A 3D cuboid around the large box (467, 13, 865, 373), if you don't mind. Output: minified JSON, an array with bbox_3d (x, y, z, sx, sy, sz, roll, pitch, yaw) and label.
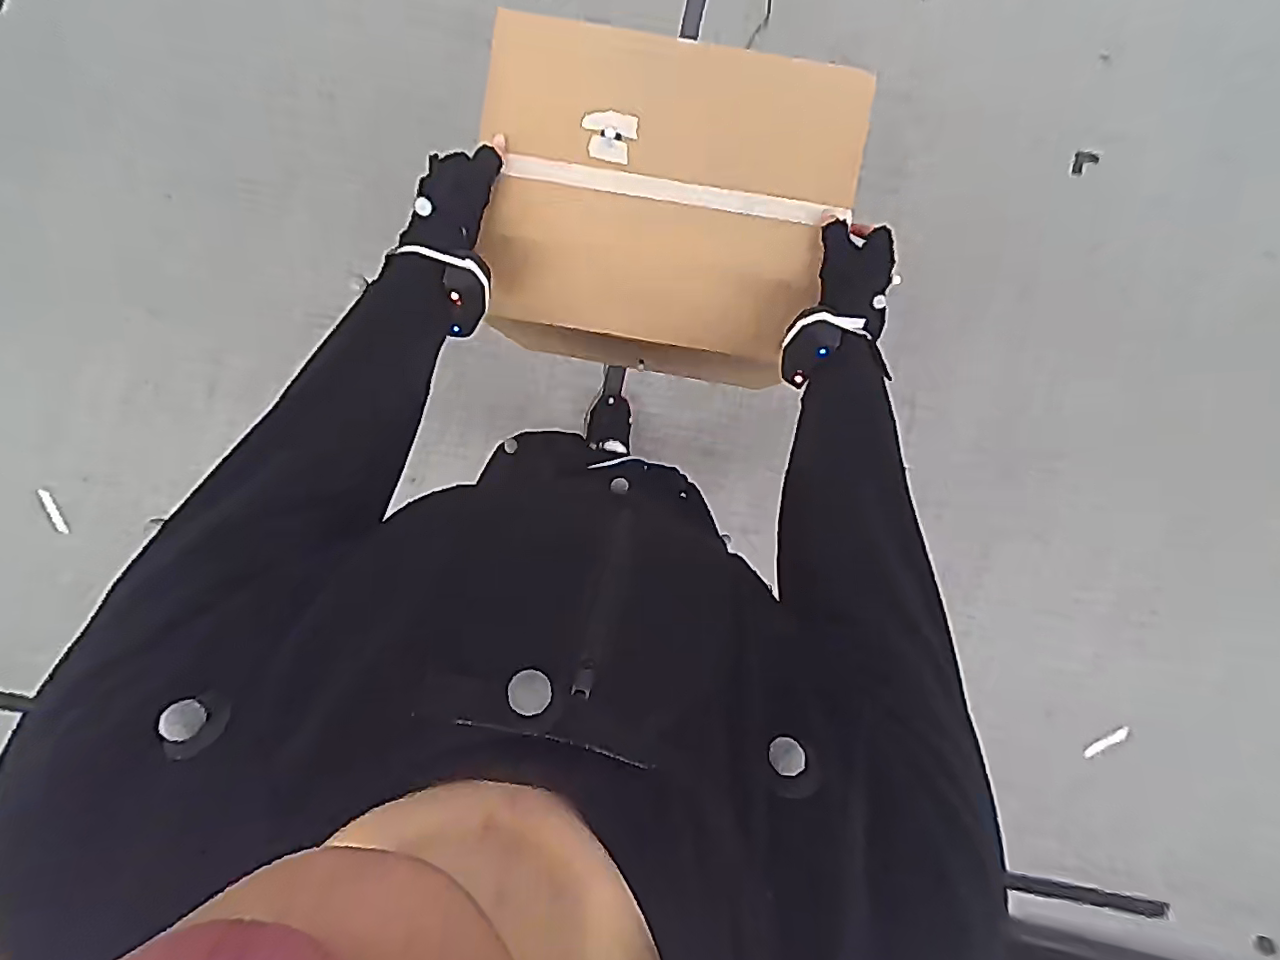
[{"bbox_3d":[0.028,-0.335,0.737,0.408,0.320,0.320,9,95,0],"label":"large box"}]
